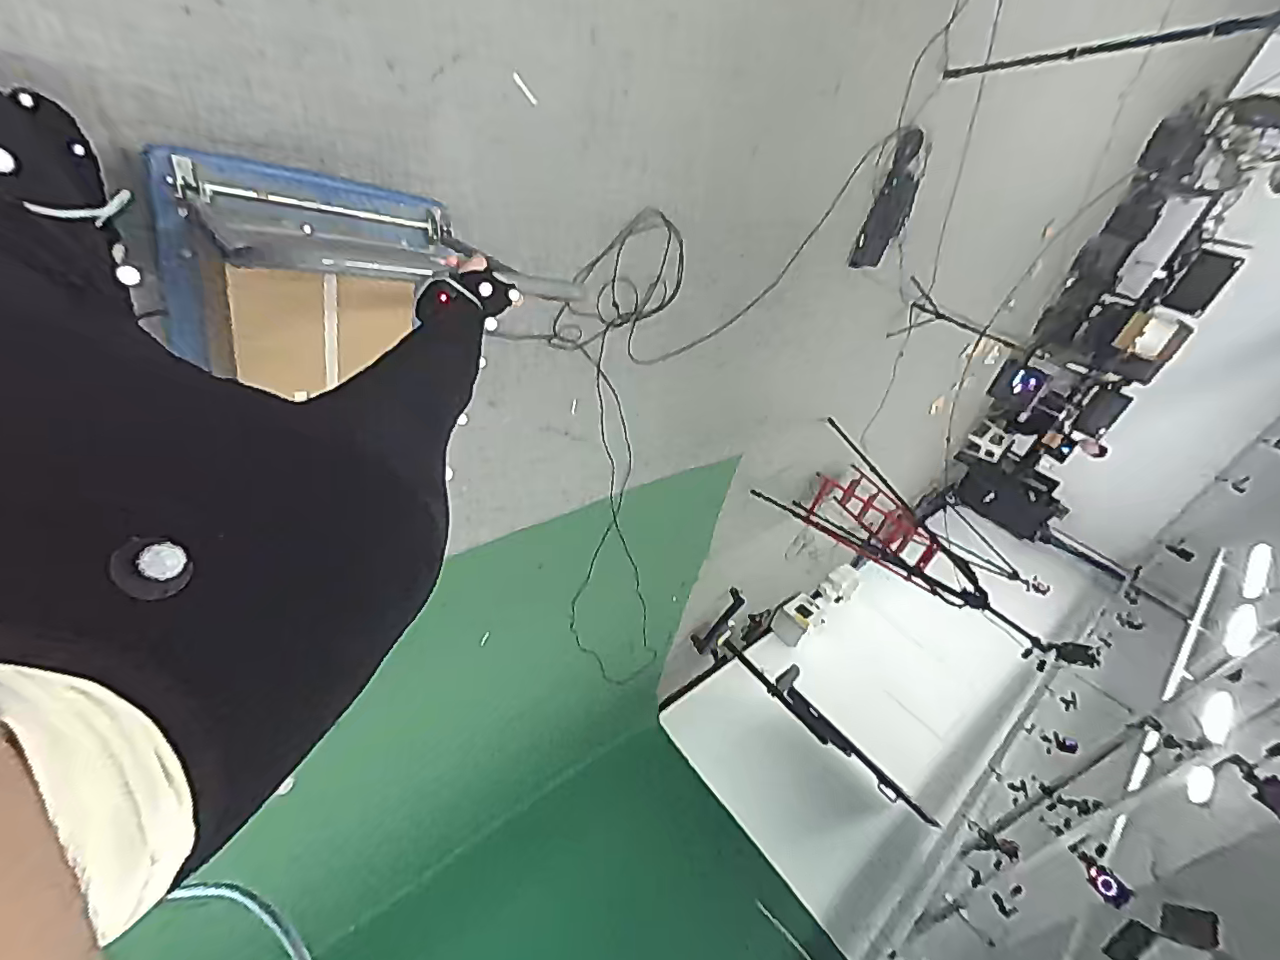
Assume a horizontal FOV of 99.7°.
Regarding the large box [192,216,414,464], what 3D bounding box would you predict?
[{"bbox_3d":[-0.713,-0.304,1.167,0.320,0.320,0.408,-14,133,-42],"label":"large box"}]
